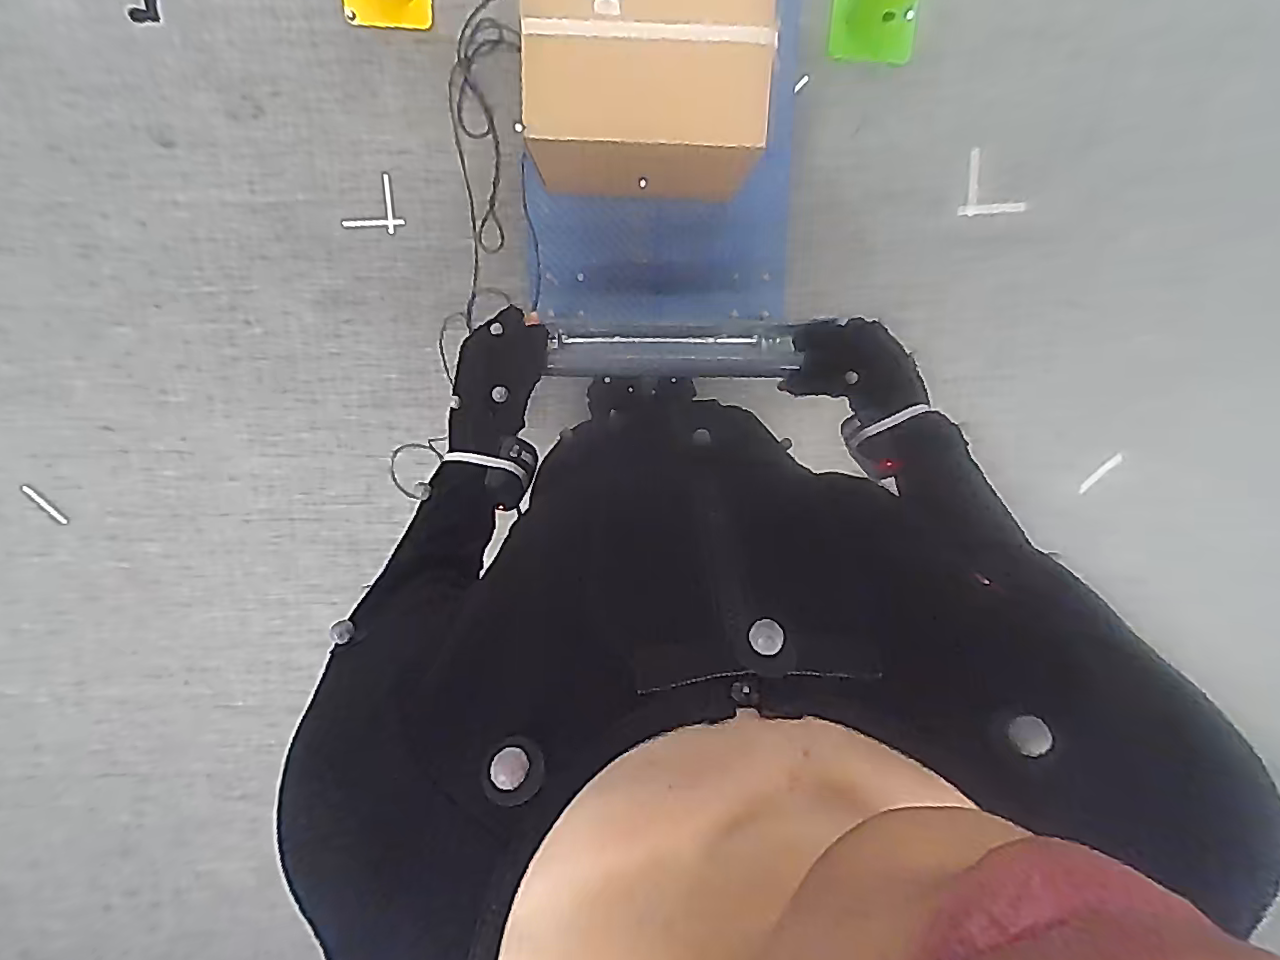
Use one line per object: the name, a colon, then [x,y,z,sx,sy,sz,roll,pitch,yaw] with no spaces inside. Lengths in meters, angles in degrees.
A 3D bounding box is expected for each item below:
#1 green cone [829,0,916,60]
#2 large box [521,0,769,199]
green cone: [0.556,-1.073,1.104,0.202,0.368,0.200,2,101,-3]
large box: [0.008,-0.737,1.016,0.408,0.320,0.320,1,101,0]
